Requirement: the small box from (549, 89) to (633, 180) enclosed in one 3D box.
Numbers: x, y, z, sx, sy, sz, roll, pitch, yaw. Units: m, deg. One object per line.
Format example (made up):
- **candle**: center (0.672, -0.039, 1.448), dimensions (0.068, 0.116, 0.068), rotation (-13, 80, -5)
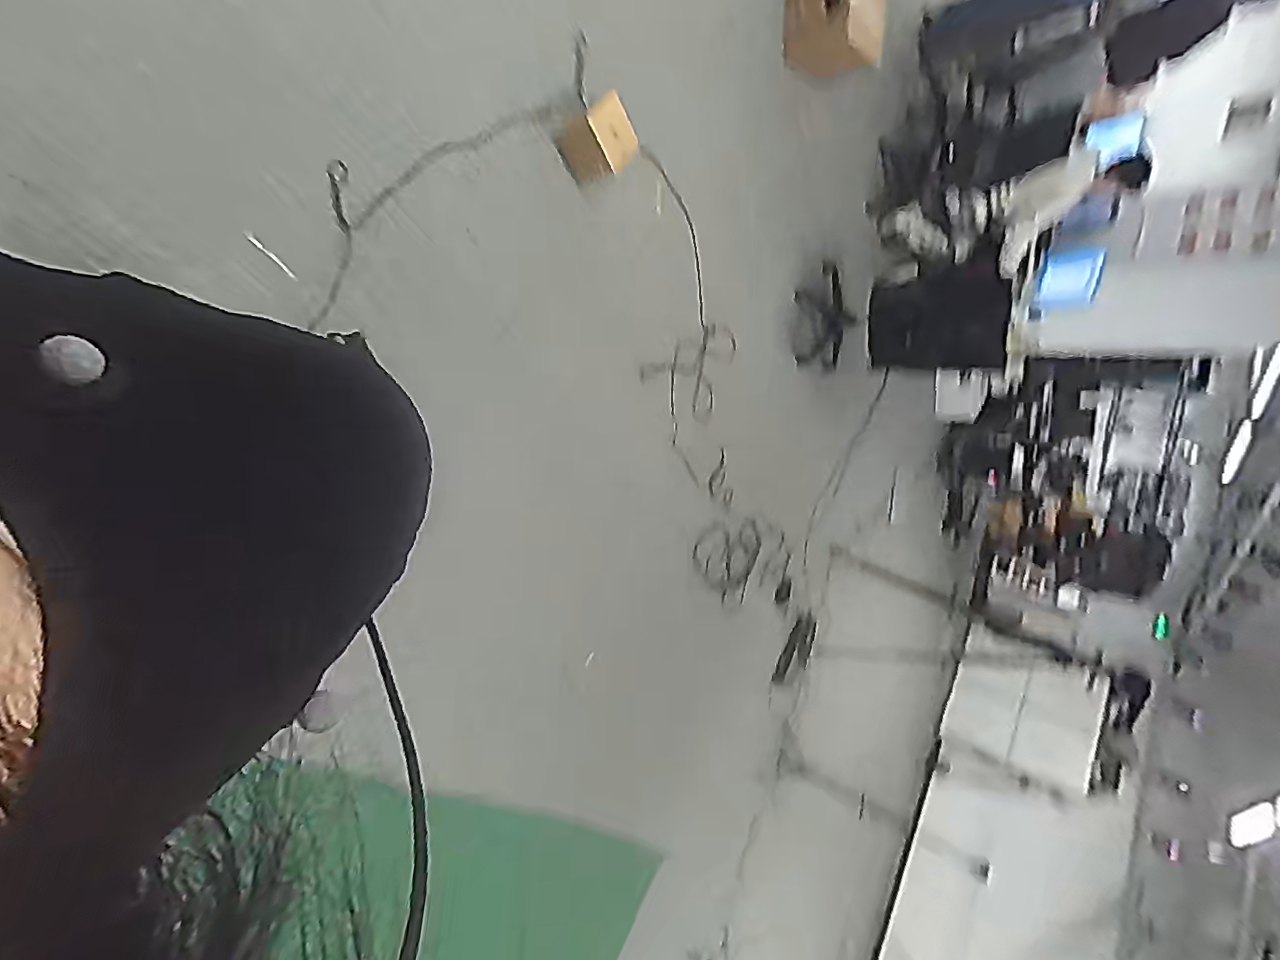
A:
- **small box**: center (-0.161, -1.110, 1.750), dimensions (0.168, 0.176, 0.179), rotation (-59, 137, -21)
